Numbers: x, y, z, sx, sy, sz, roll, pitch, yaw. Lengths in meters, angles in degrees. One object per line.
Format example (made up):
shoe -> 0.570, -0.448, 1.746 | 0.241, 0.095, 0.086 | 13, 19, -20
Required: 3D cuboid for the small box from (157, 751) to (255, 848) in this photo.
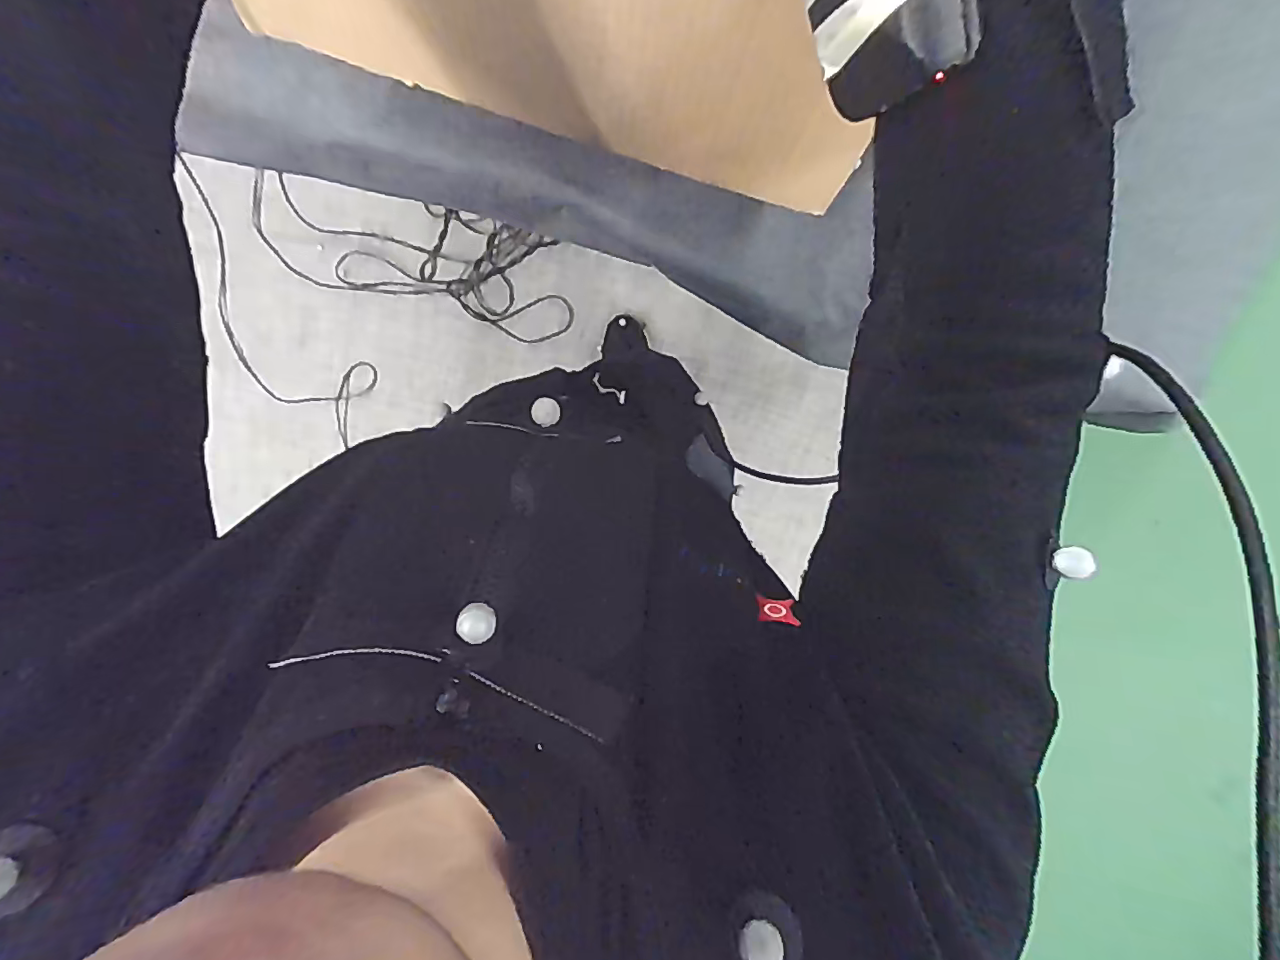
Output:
small box -> -1.339, 0.983, 1.677 | 0.168, 0.176, 0.179 | 21, 109, -4
